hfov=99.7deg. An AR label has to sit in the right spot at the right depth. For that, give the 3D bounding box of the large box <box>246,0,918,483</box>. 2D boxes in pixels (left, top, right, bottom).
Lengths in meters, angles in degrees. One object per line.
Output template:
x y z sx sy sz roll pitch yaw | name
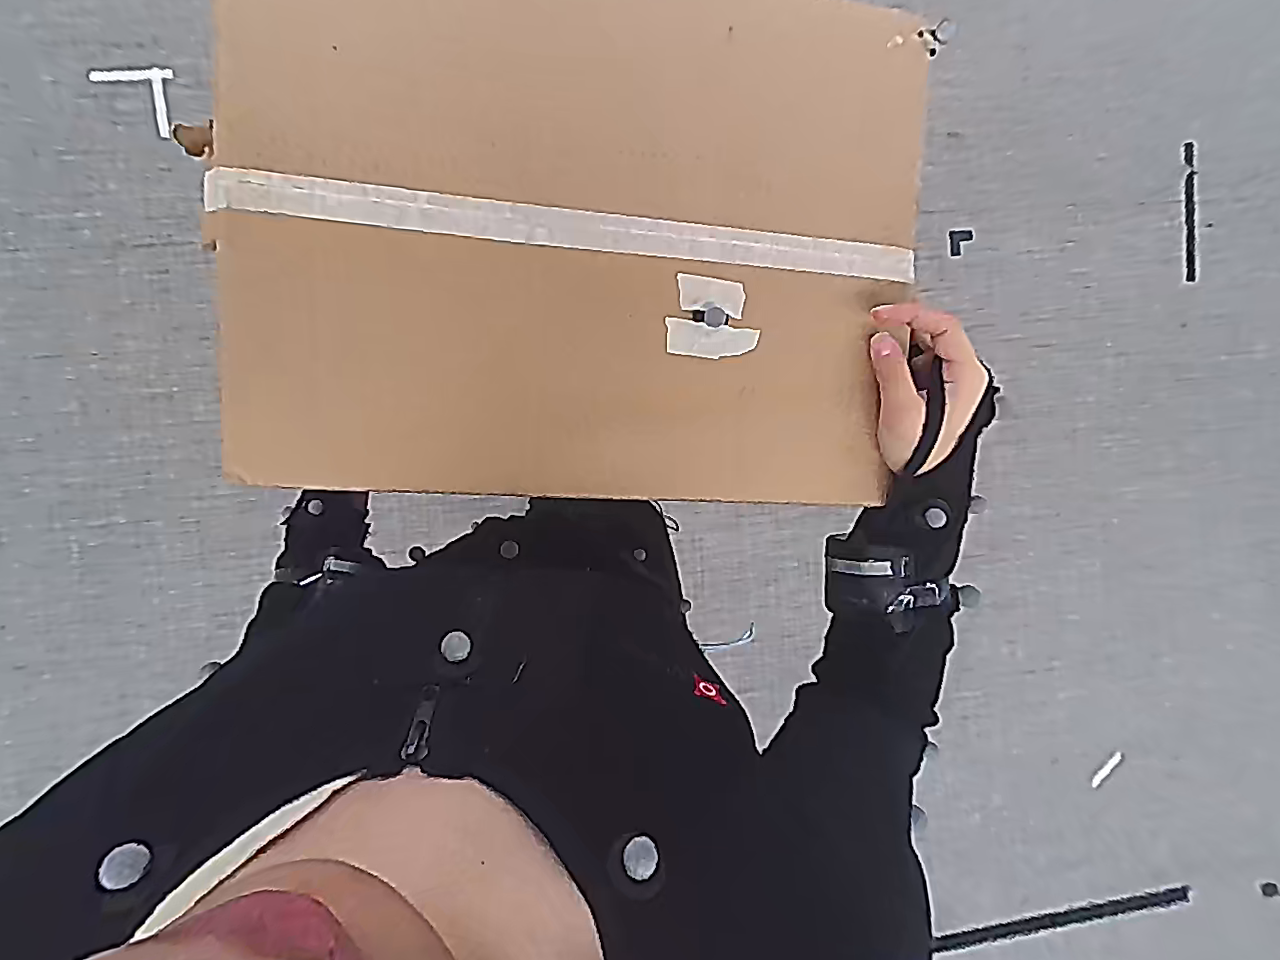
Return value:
-0.046 -0.166 0.473 0.408 0.320 0.320 2 95 -12 | large box
